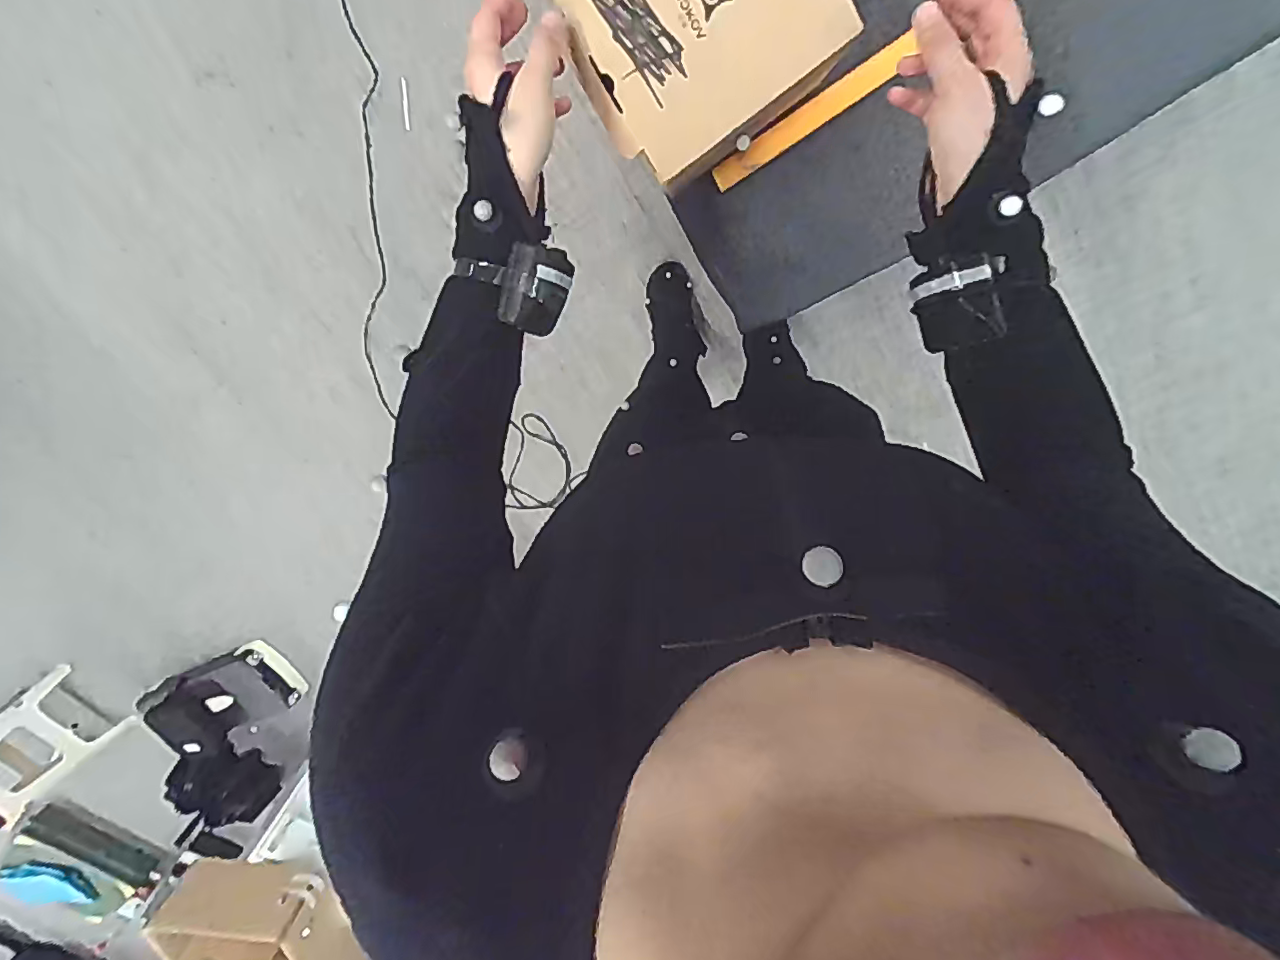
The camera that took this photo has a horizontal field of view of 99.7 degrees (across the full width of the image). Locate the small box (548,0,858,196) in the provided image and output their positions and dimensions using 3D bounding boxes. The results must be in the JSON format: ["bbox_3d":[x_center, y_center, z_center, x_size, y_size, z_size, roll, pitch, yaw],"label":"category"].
[{"bbox_3d":[0.053,-0.372,0.467,0.179,0.176,0.168,-31,108,18],"label":"small box"}]
